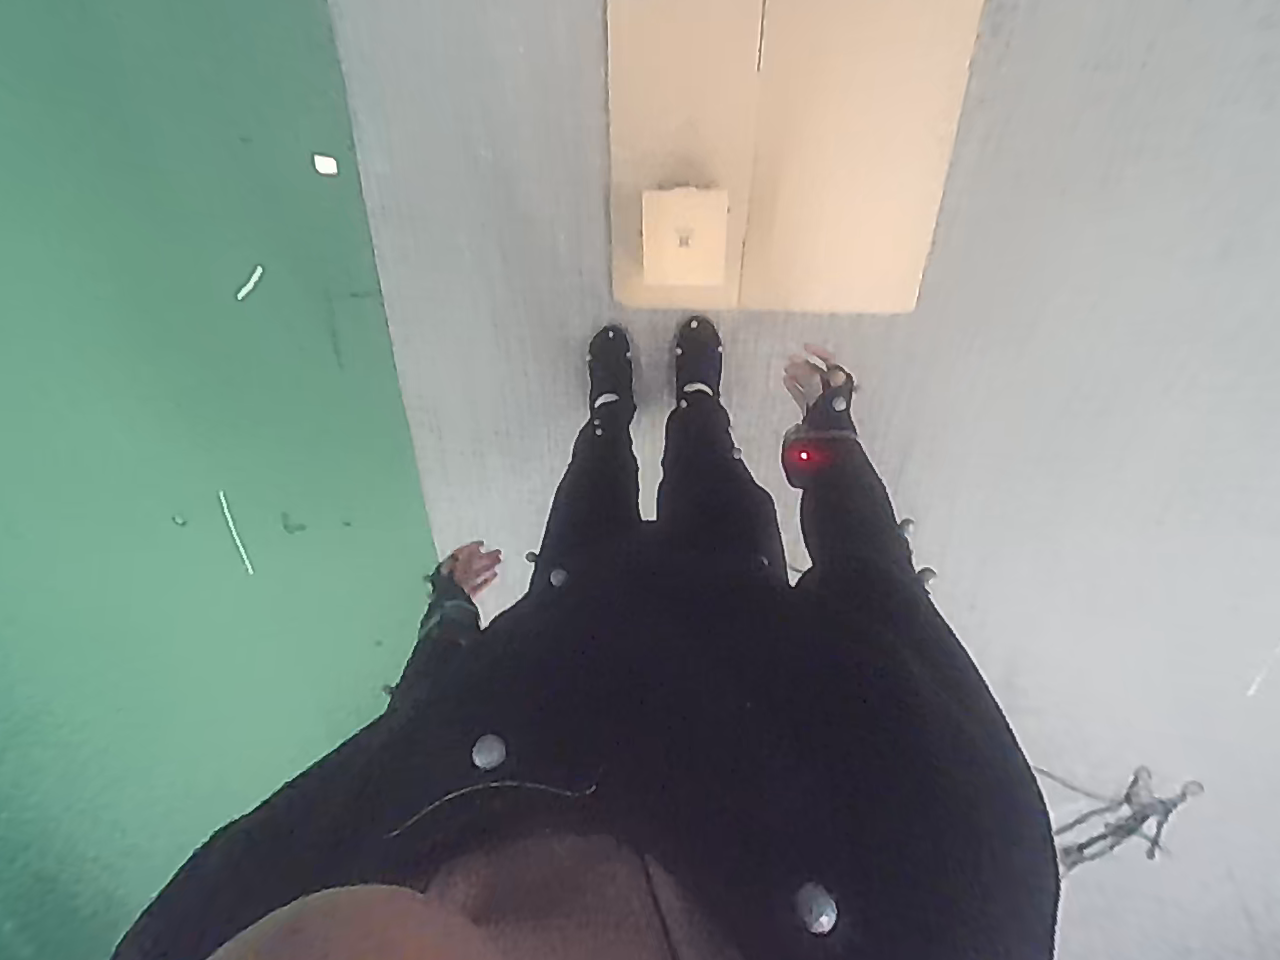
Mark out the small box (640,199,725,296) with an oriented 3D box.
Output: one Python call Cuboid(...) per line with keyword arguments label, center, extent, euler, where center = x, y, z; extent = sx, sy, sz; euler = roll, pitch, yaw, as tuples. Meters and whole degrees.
Cuboid(label="small box", center=(0.089, -0.491, 1.137), extent=(0.168, 0.176, 0.179), euler=(1, 116, 4))
